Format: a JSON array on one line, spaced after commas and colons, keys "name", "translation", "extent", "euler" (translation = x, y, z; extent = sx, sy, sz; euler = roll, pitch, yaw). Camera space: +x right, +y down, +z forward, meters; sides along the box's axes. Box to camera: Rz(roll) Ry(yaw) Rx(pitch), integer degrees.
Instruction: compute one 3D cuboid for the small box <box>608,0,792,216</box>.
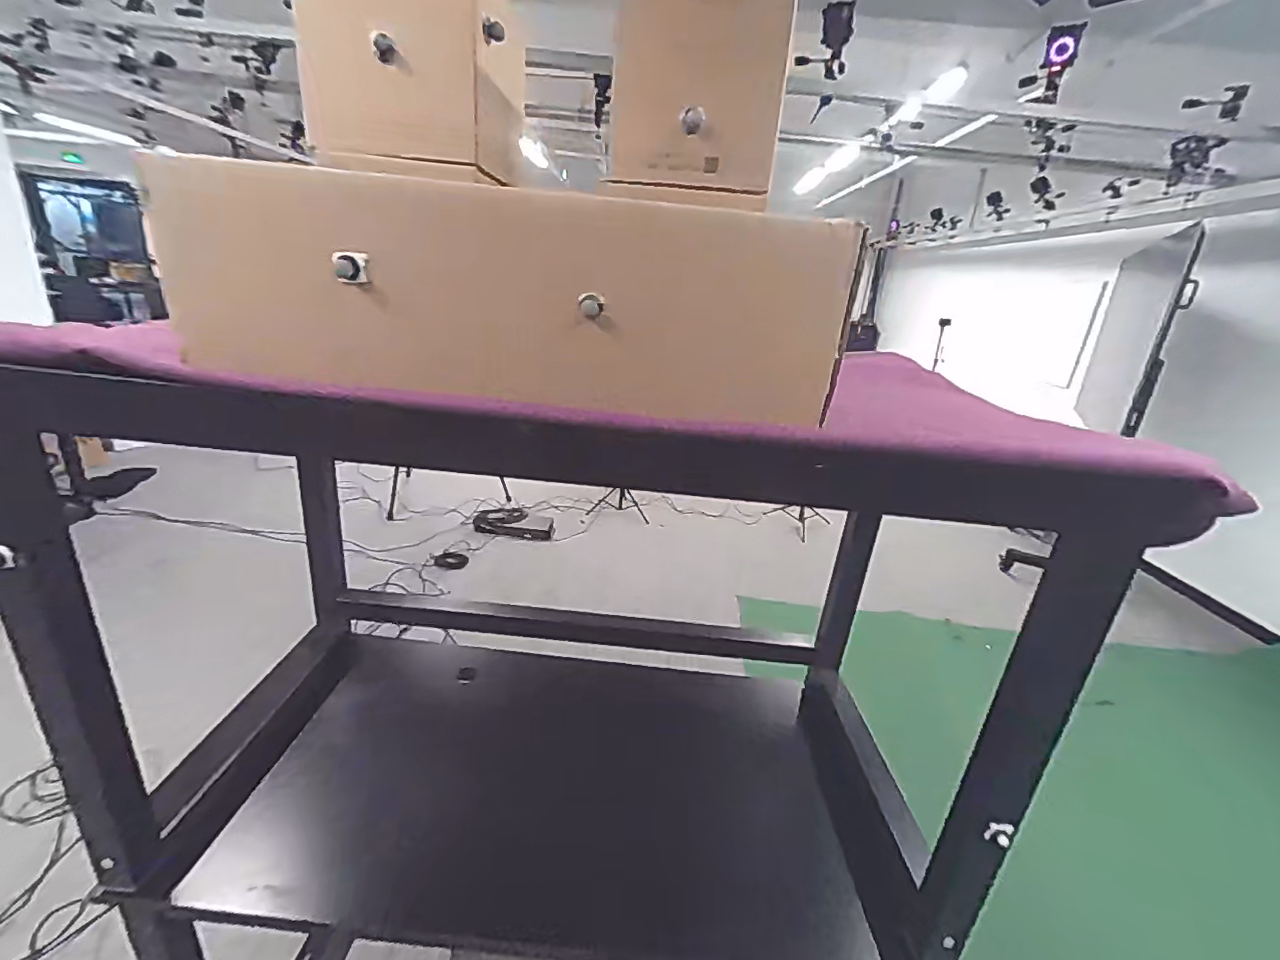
[{"name": "small box", "translation": [0.058, -0.393, 0.595], "extent": [0.168, 0.176, 0.179], "euler": [5, 20, 3]}]
